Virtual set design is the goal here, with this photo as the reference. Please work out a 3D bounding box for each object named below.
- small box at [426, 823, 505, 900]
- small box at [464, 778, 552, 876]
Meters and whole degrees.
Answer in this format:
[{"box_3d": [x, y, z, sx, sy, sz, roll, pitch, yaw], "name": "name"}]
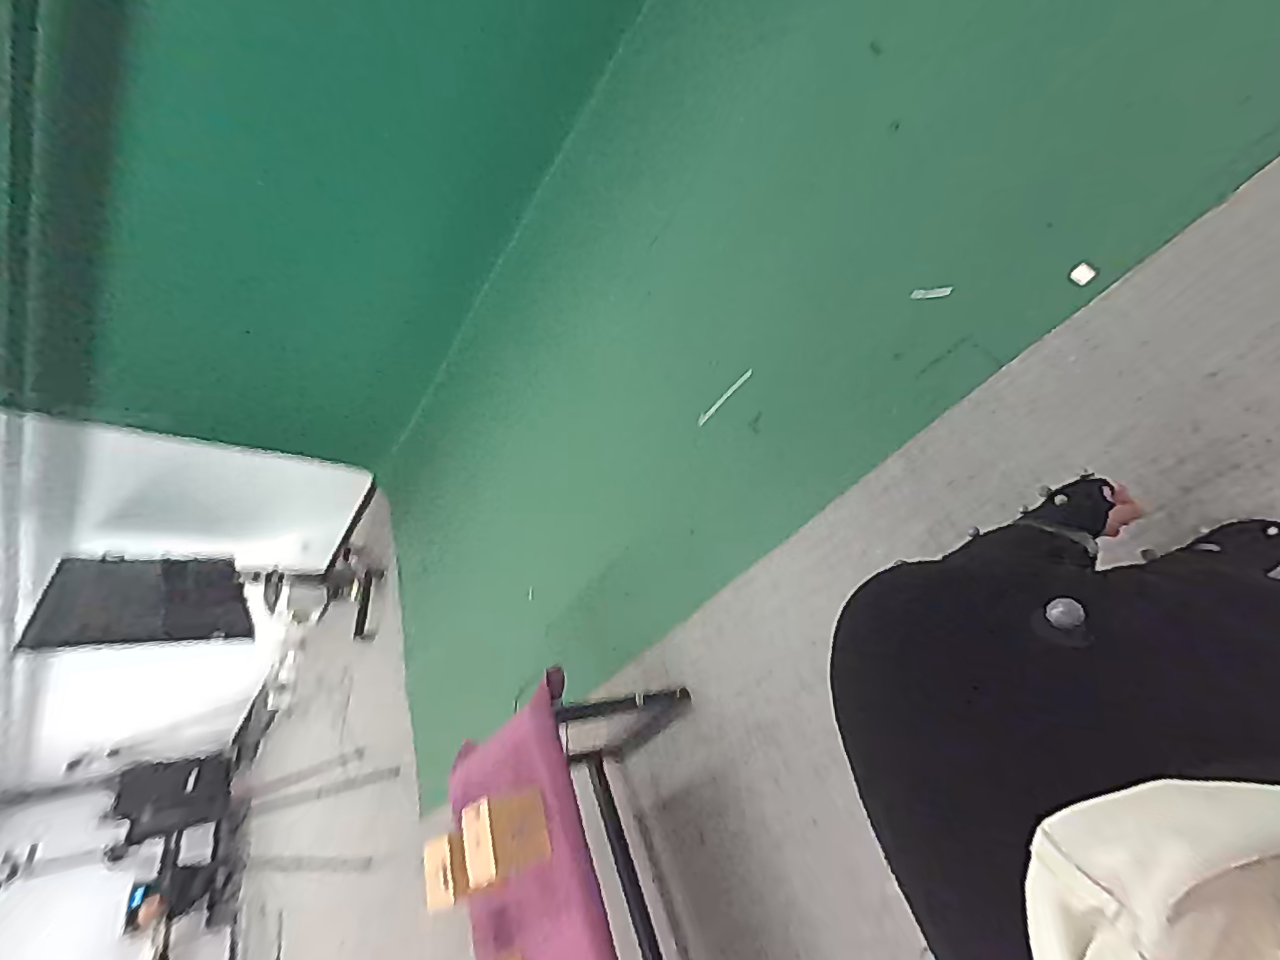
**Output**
[{"box_3d": [-0.522, 1.134, 1.633, 0.179, 0.176, 0.168, -42, 53, 34], "name": "small box"}, {"box_3d": [-0.365, 0.957, 1.500, 0.168, 0.176, 0.179, -43, 54, 34], "name": "small box"}]
